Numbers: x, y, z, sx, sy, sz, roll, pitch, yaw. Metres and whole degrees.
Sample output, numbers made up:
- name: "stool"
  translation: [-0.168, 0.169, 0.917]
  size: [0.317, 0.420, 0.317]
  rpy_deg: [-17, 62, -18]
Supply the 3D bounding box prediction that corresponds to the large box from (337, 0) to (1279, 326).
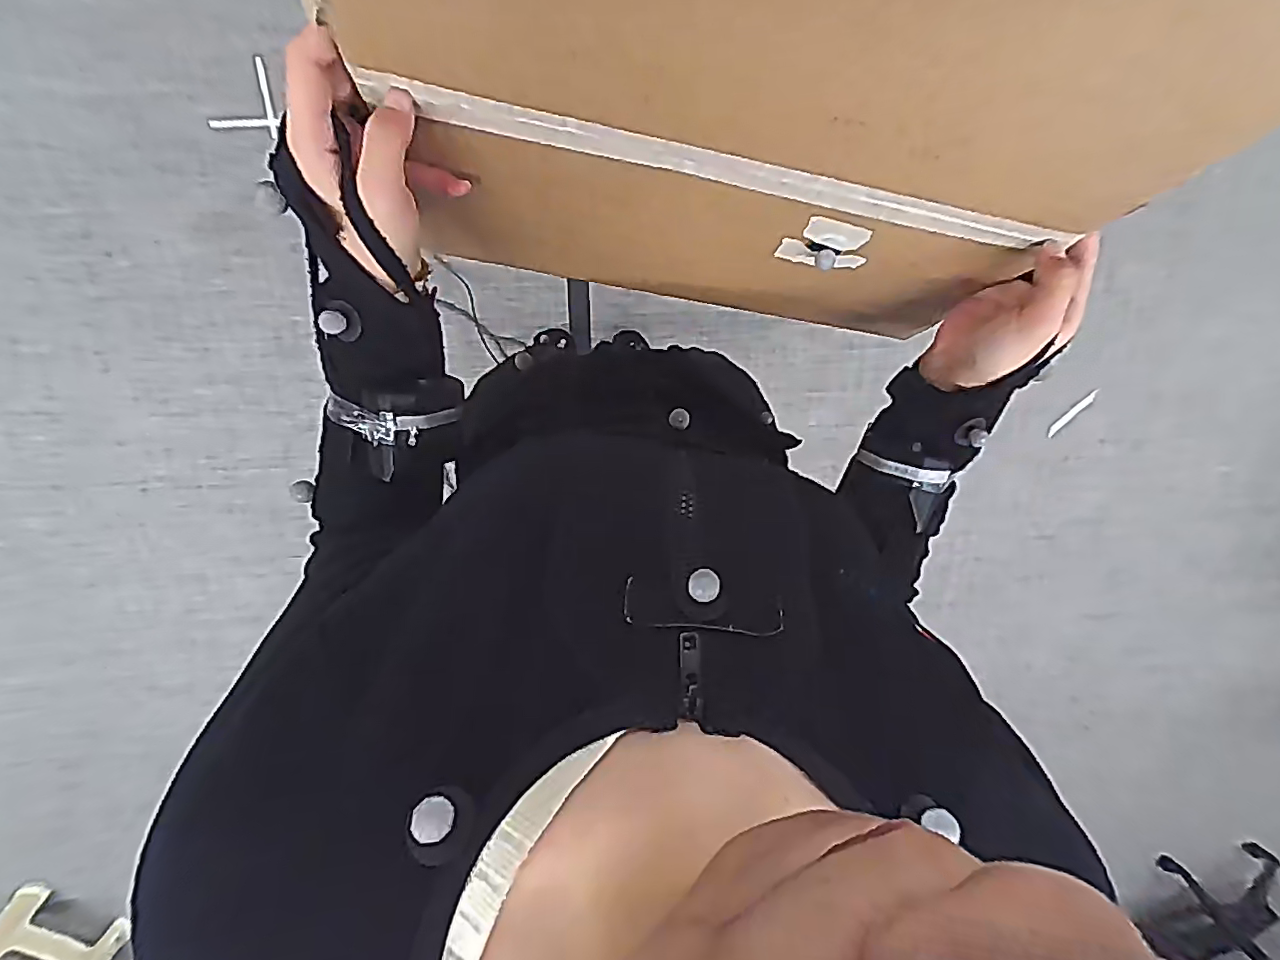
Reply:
- name: "large box"
  translation: [0.070, -0.323, 0.318]
  size: [0.408, 0.320, 0.320]
  rpy_deg: [6, 83, -10]
